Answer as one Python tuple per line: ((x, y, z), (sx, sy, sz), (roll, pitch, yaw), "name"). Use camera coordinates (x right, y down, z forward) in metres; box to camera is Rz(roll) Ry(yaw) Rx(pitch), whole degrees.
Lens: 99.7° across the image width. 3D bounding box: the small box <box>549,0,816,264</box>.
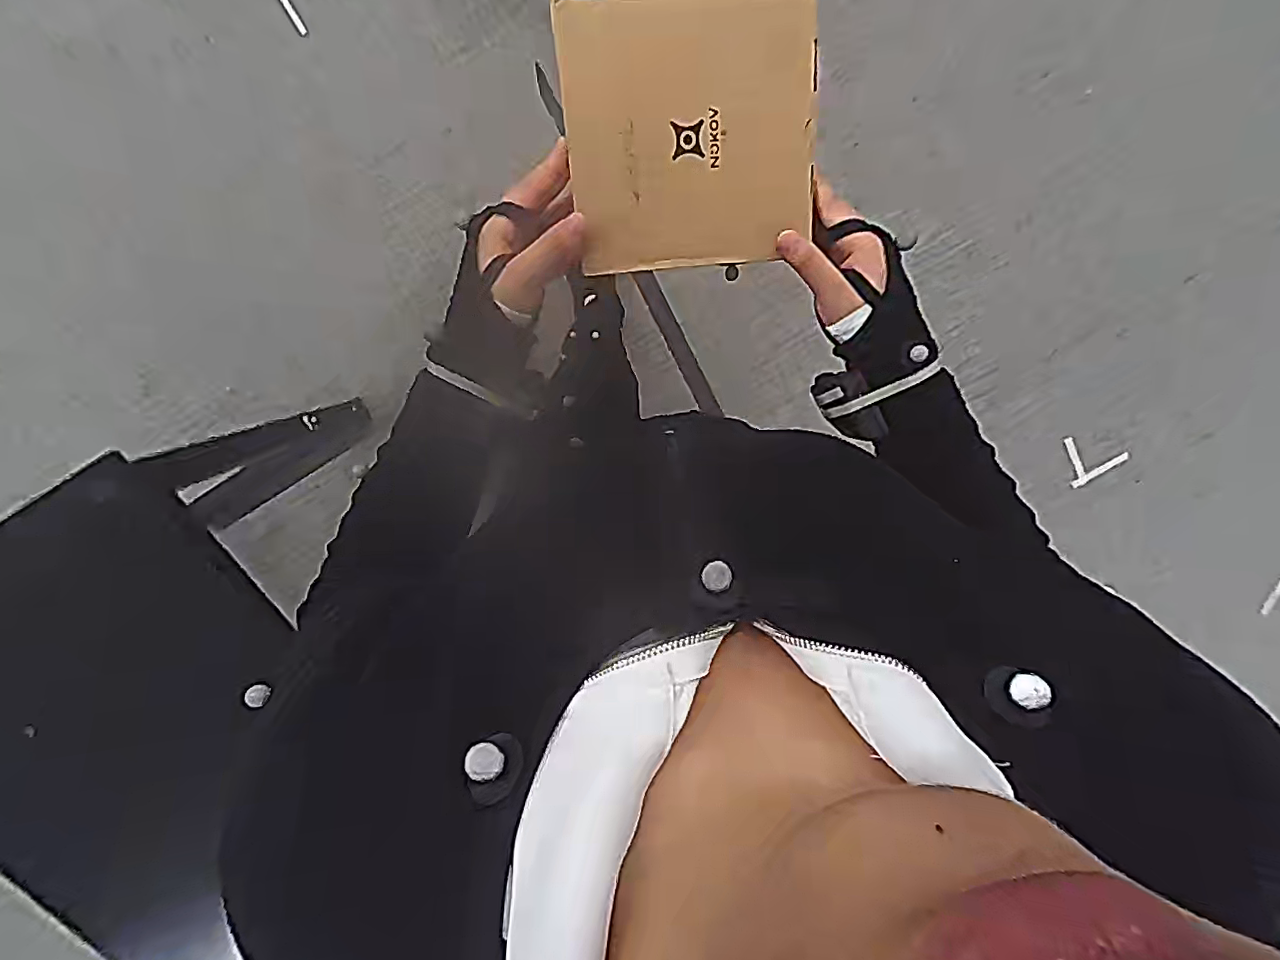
((0.028, -0.275, 0.446), (0.179, 0.176, 0.168), (-7, 111, -1), "small box")
